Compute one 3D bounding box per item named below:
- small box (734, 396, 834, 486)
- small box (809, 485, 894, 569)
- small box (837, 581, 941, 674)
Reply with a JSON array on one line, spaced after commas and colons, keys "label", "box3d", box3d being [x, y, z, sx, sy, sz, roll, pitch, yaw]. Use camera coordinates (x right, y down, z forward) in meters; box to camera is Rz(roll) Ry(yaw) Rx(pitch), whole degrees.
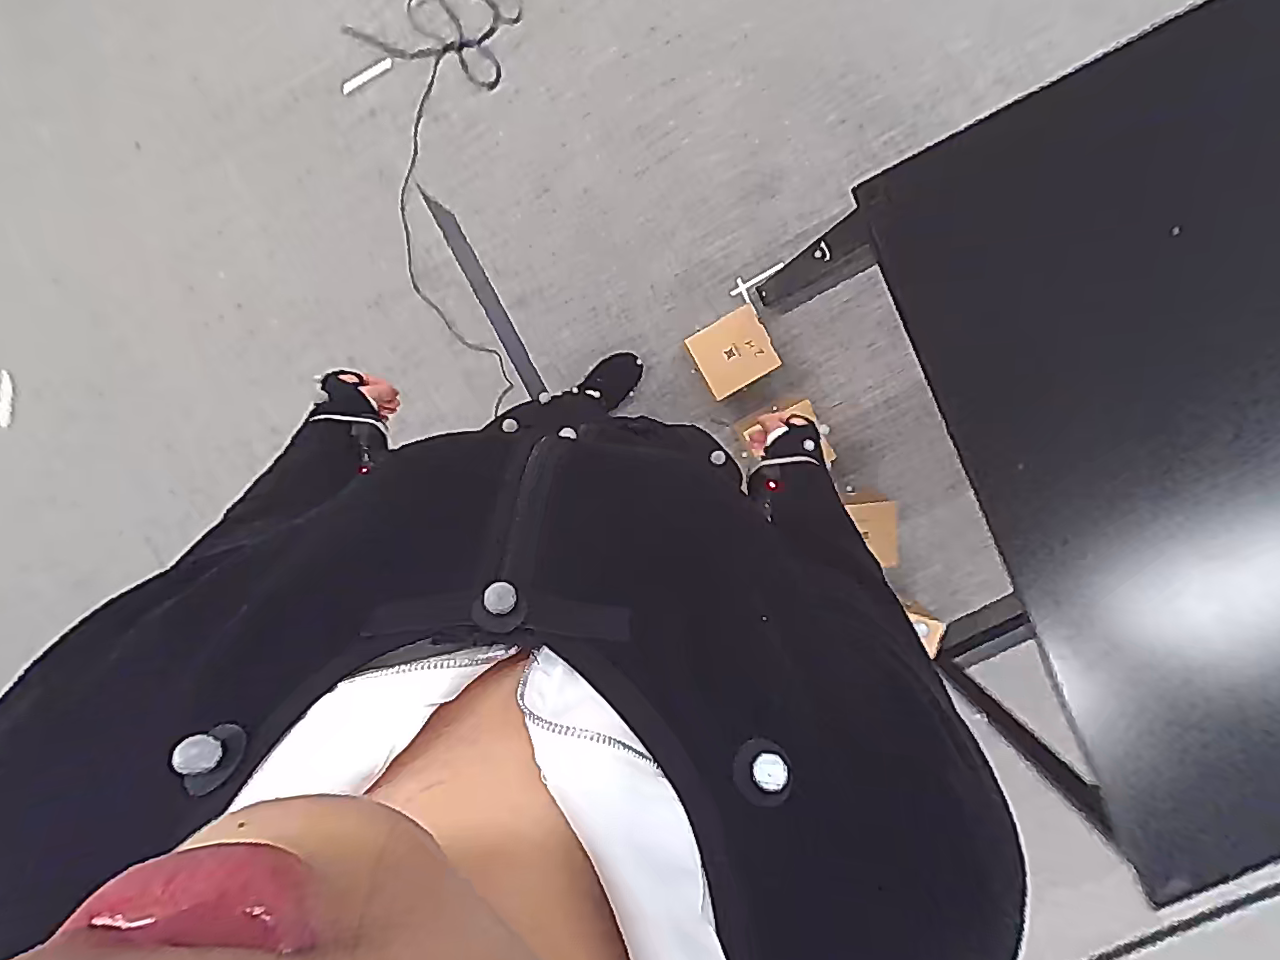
[{"label": "small box", "box3d": [0.361, -0.107, 1.387, 0.179, 0.176, 0.168, -27, 99, 7]}, {"label": "small box", "box3d": [0.554, 0.120, 1.430, 0.168, 0.176, 0.179, -6, 100, 1]}, {"label": "small box", "box3d": [0.672, 0.396, 1.477, 0.179, 0.176, 0.168, 16, 100, -2]}]
